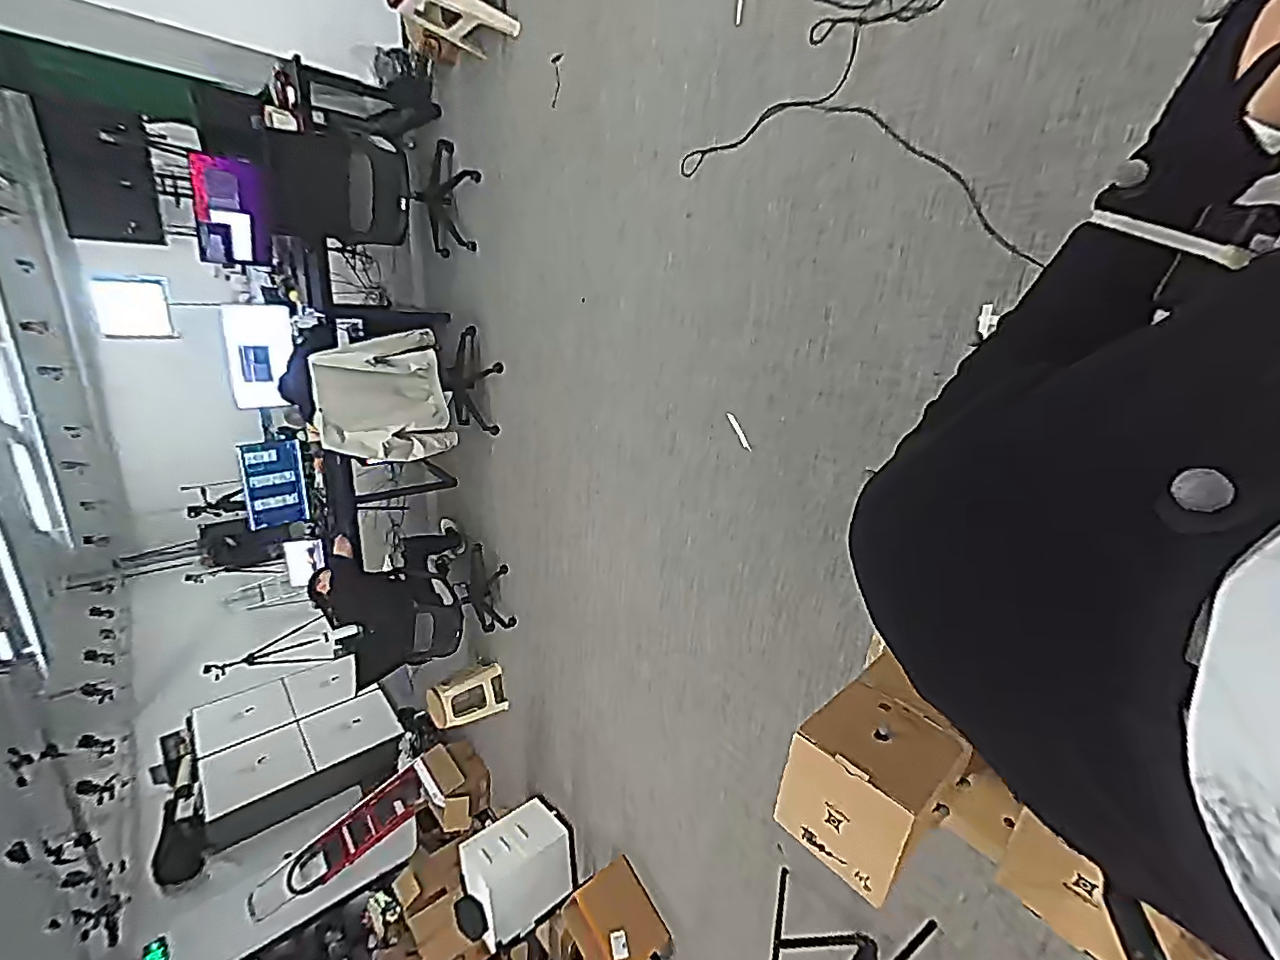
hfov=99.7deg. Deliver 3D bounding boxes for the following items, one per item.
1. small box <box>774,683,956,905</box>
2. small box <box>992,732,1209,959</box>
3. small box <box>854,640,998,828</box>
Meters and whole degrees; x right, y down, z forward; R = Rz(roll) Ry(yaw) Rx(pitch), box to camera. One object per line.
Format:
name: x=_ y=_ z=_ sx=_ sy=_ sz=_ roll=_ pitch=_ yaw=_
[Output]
small box: x=0.319 y=0.424 z=0.765 sx=0.168 sy=0.176 sz=0.179 roll=25 pitch=117 yaw=42
small box: x=0.601 y=0.478 z=0.709 sx=0.168 sy=0.176 sz=0.179 roll=24 pitch=116 yaw=43
small box: x=0.444 y=0.394 z=0.868 sx=0.168 sy=0.176 sz=0.179 roll=23 pitch=116 yaw=42
